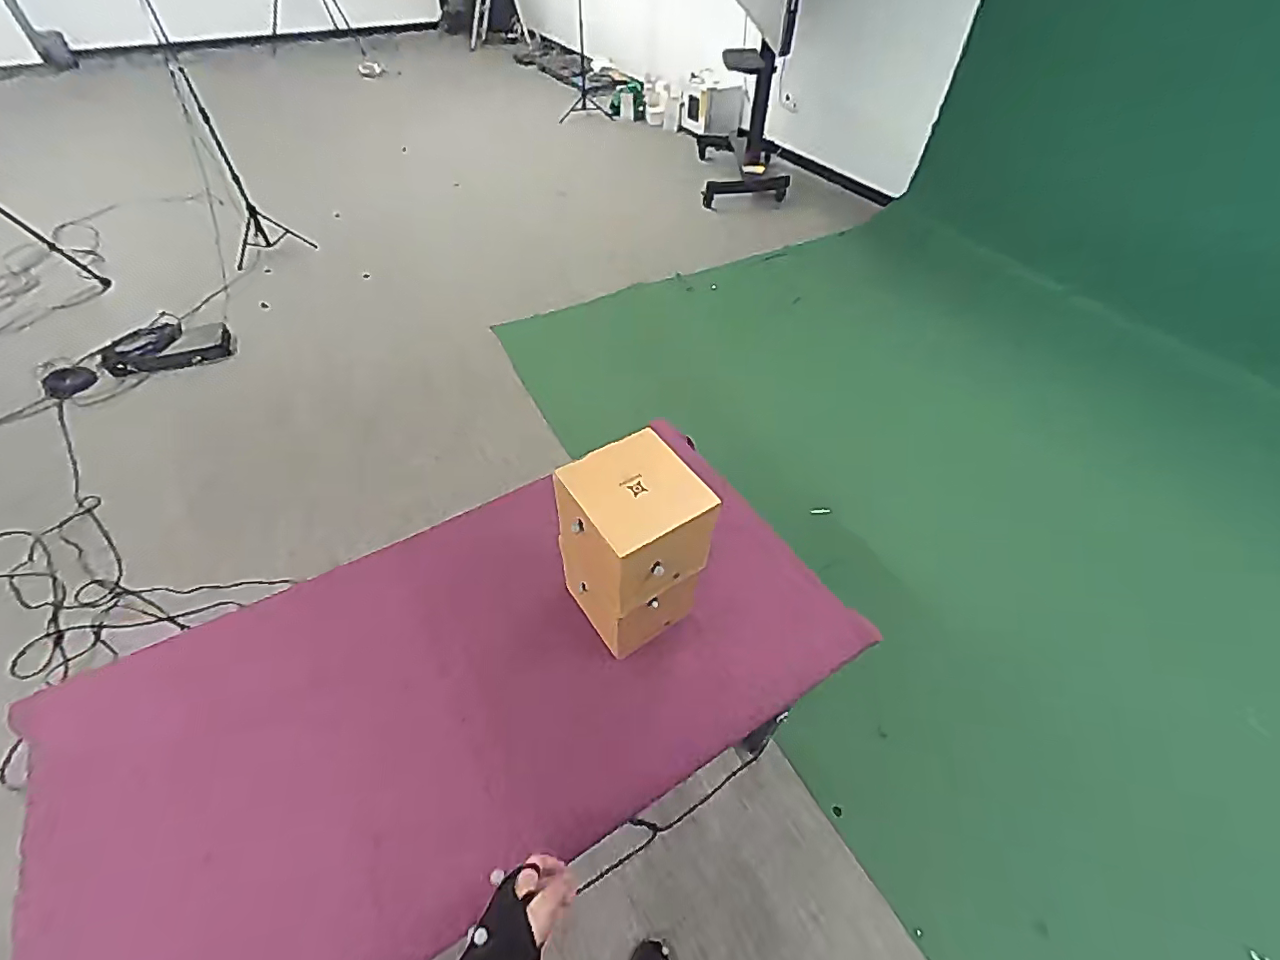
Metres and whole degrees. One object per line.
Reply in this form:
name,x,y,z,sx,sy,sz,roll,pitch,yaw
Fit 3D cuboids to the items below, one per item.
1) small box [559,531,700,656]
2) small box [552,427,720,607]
small box,-0.020,0.161,0.914,0.168,0.176,0.179,-27,55,-23
small box,-0.008,0.060,0.786,0.168,0.176,0.179,-26,55,-22
